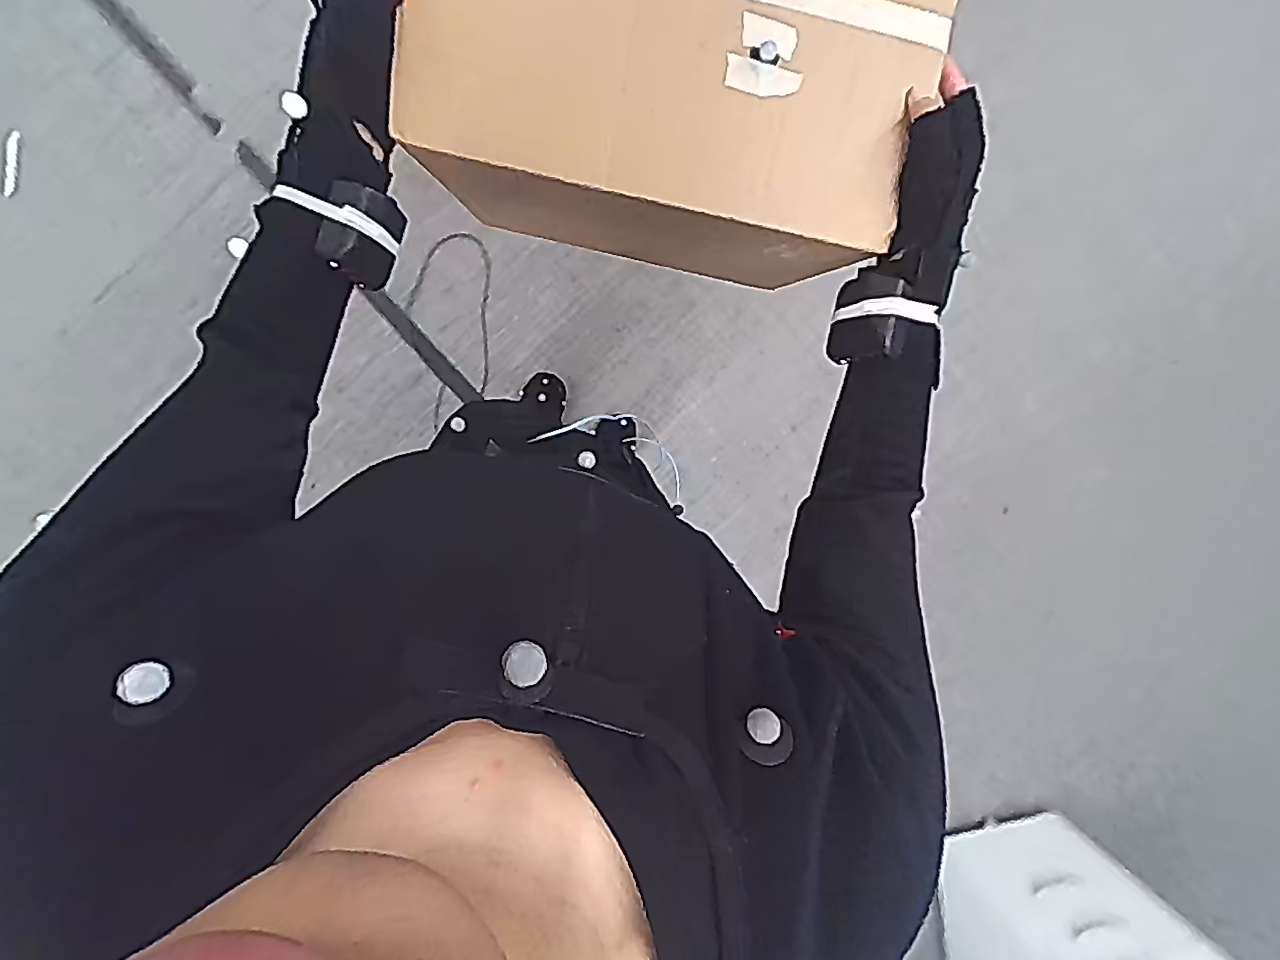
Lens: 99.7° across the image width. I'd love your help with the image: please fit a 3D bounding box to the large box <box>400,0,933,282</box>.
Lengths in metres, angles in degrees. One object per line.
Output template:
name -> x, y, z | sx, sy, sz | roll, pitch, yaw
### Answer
large box -> 0.017, -0.412, 0.553 | 0.408, 0.320, 0.320 | 9, 104, -7
